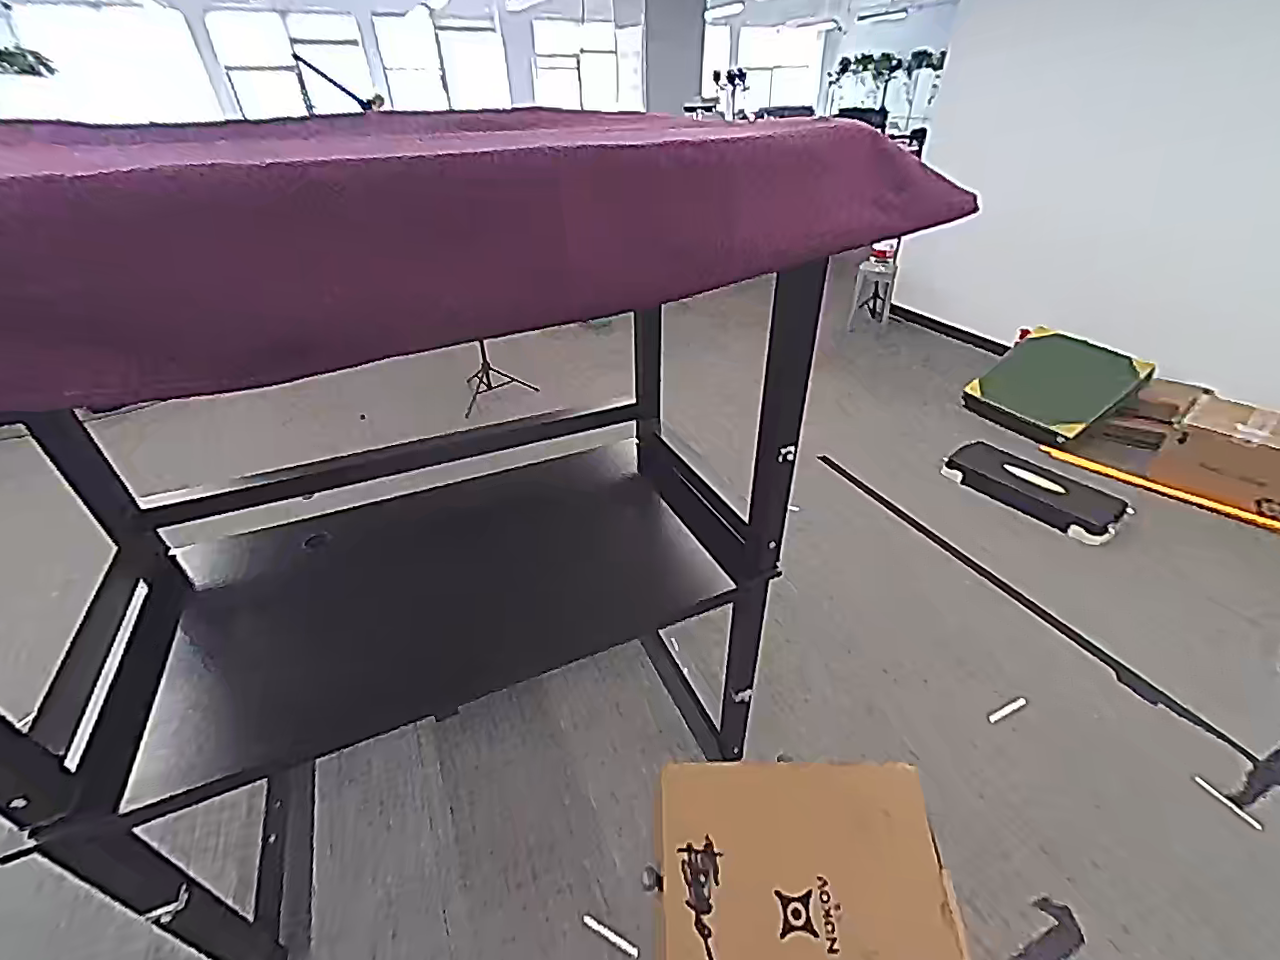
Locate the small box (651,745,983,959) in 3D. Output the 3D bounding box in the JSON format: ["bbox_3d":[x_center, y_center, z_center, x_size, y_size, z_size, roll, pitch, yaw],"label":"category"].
[{"bbox_3d":[0.102,0.289,0.383,0.179,0.176,0.168,1,56,-3],"label":"small box"}]
